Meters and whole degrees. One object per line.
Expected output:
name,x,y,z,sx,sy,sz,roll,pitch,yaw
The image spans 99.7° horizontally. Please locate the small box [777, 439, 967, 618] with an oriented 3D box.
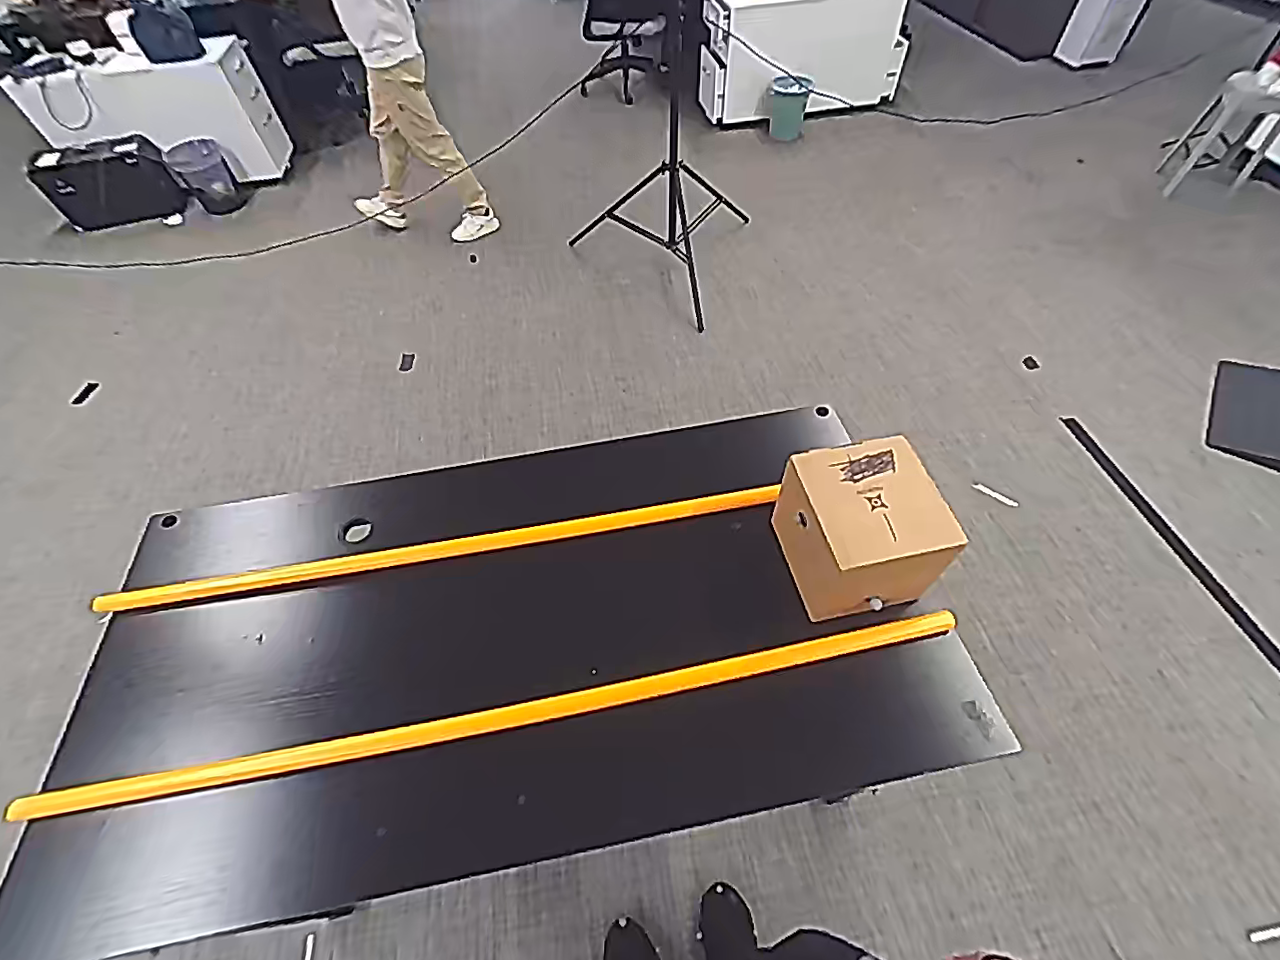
small box,0.304,0.071,0.759,0.168,0.176,0.179,-11,55,-4
